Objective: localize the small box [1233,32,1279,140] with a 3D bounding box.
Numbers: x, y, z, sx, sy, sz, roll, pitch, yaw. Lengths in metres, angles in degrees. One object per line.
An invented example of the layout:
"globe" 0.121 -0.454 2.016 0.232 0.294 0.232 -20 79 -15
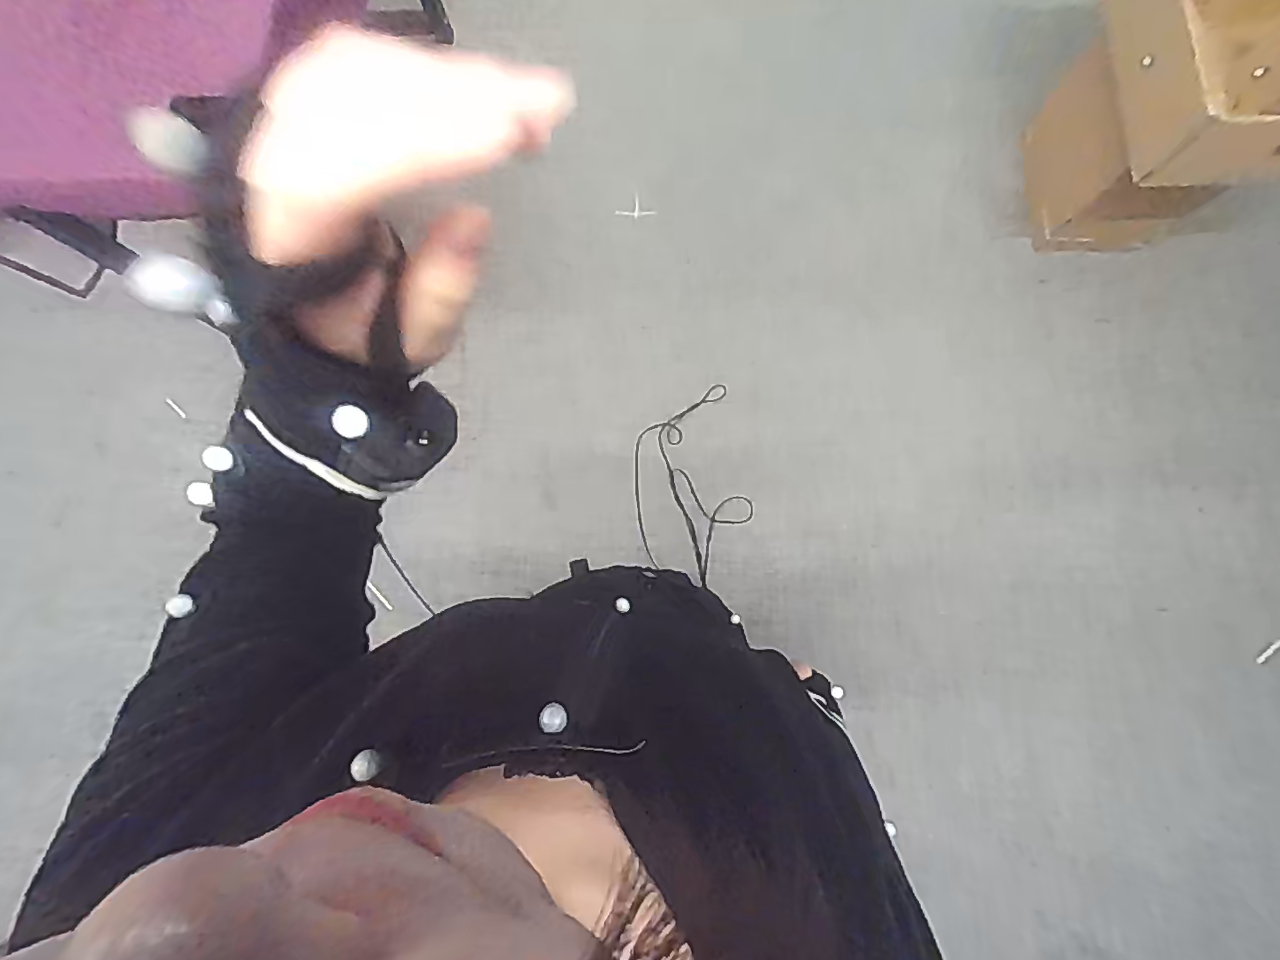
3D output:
"small box" 1.366 -0.818 1.092 0.179 0.176 0.168 7 80 5
